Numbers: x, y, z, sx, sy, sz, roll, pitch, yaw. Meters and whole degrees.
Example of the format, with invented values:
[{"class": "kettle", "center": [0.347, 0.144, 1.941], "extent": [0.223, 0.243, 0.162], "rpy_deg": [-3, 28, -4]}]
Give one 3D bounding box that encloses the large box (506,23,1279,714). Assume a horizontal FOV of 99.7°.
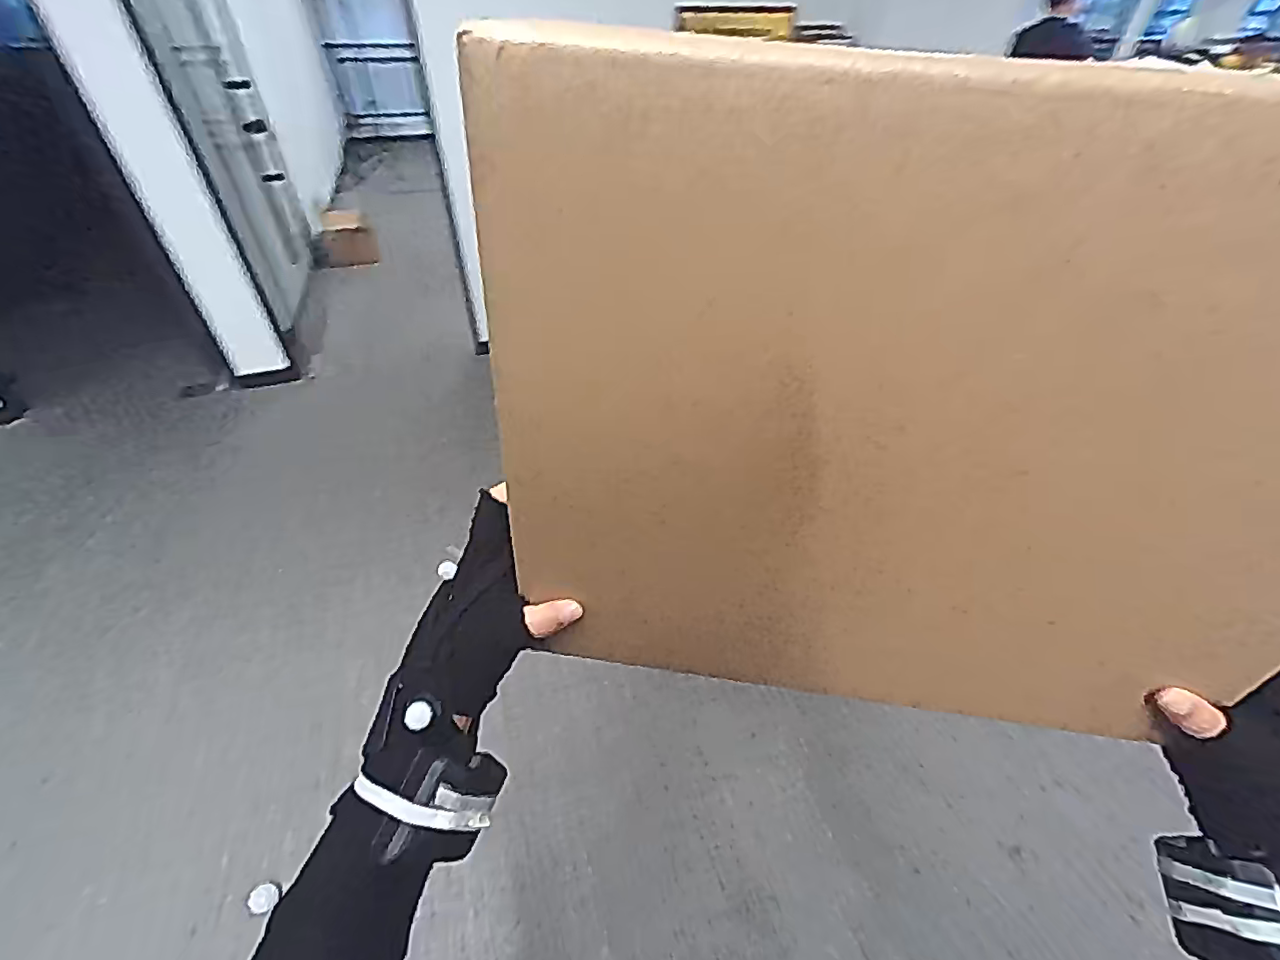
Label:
[{"class": "large box", "center": [0.152, -0.081, 0.368], "extent": [0.408, 0.320, 0.320], "rpy_deg": [7, 38, 2]}]
